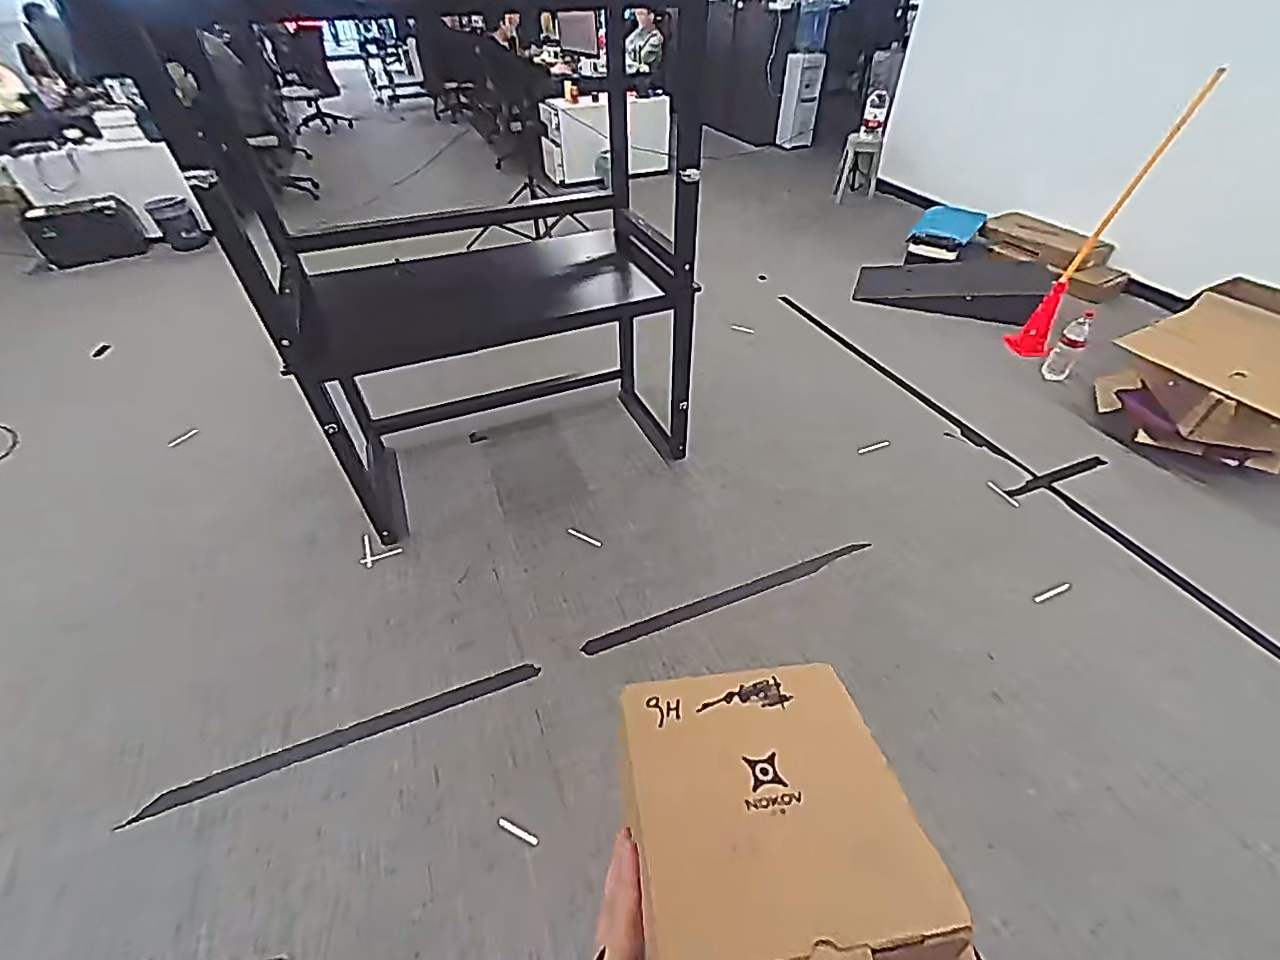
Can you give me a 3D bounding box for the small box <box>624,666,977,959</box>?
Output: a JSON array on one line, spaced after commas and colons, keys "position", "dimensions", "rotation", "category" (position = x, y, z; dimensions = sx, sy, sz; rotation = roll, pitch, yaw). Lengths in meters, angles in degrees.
[{"position": [0.079, 0.261, 0.376], "dimensions": [0.168, 0.176, 0.179], "rotation": [-3, 32, -8], "category": "small box"}]
